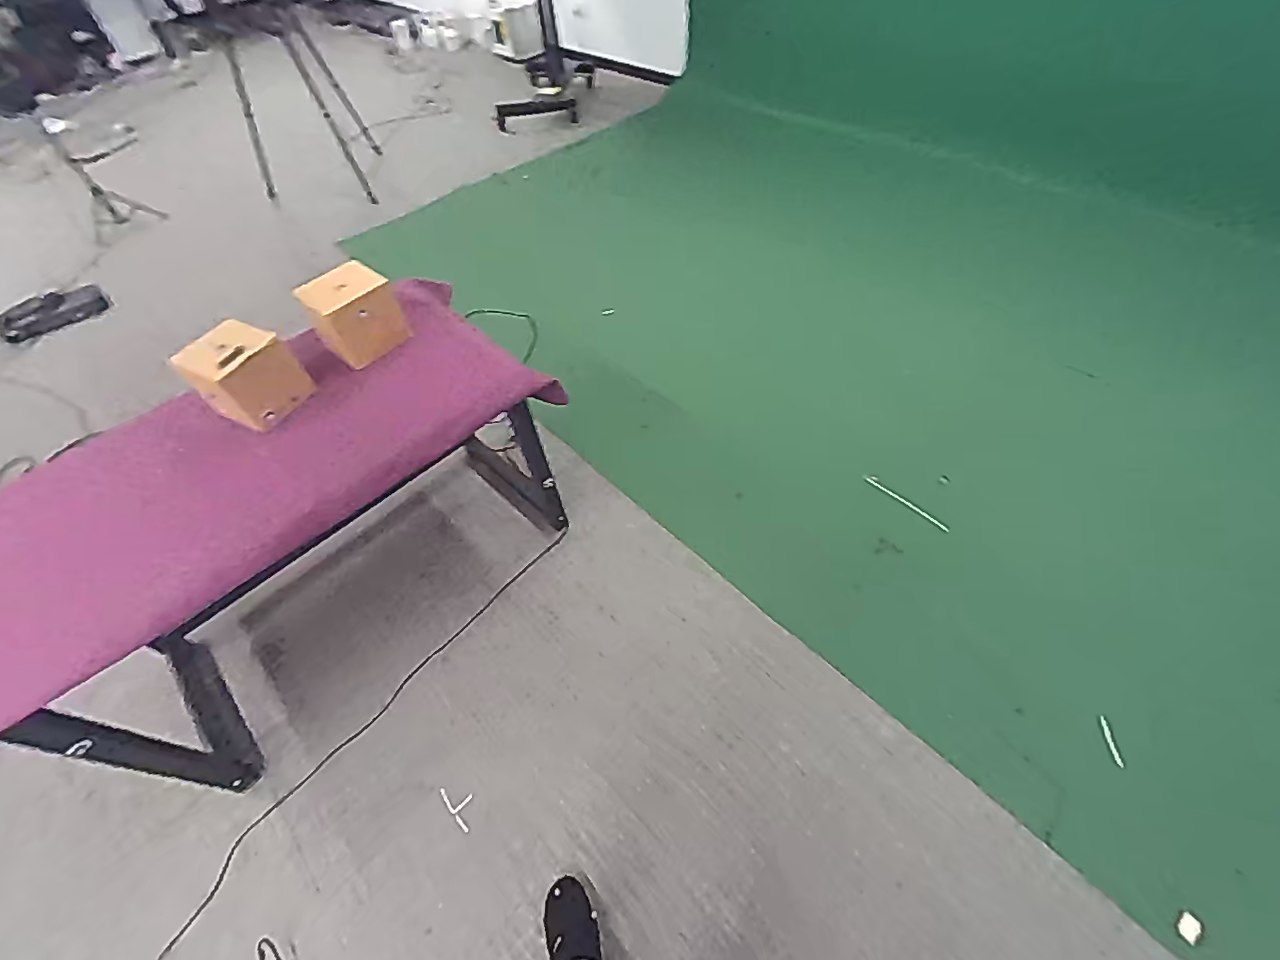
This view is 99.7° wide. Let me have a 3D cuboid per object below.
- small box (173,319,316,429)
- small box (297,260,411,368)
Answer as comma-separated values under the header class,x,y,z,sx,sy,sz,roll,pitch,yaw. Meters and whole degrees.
class,x,y,z,sx,sy,sz,roll,pitch,yaw
small box,-0.913,-0.243,1.268,0.179,0.176,0.168,20,57,20
small box,-0.719,-0.423,1.386,0.168,0.176,0.179,33,64,26
